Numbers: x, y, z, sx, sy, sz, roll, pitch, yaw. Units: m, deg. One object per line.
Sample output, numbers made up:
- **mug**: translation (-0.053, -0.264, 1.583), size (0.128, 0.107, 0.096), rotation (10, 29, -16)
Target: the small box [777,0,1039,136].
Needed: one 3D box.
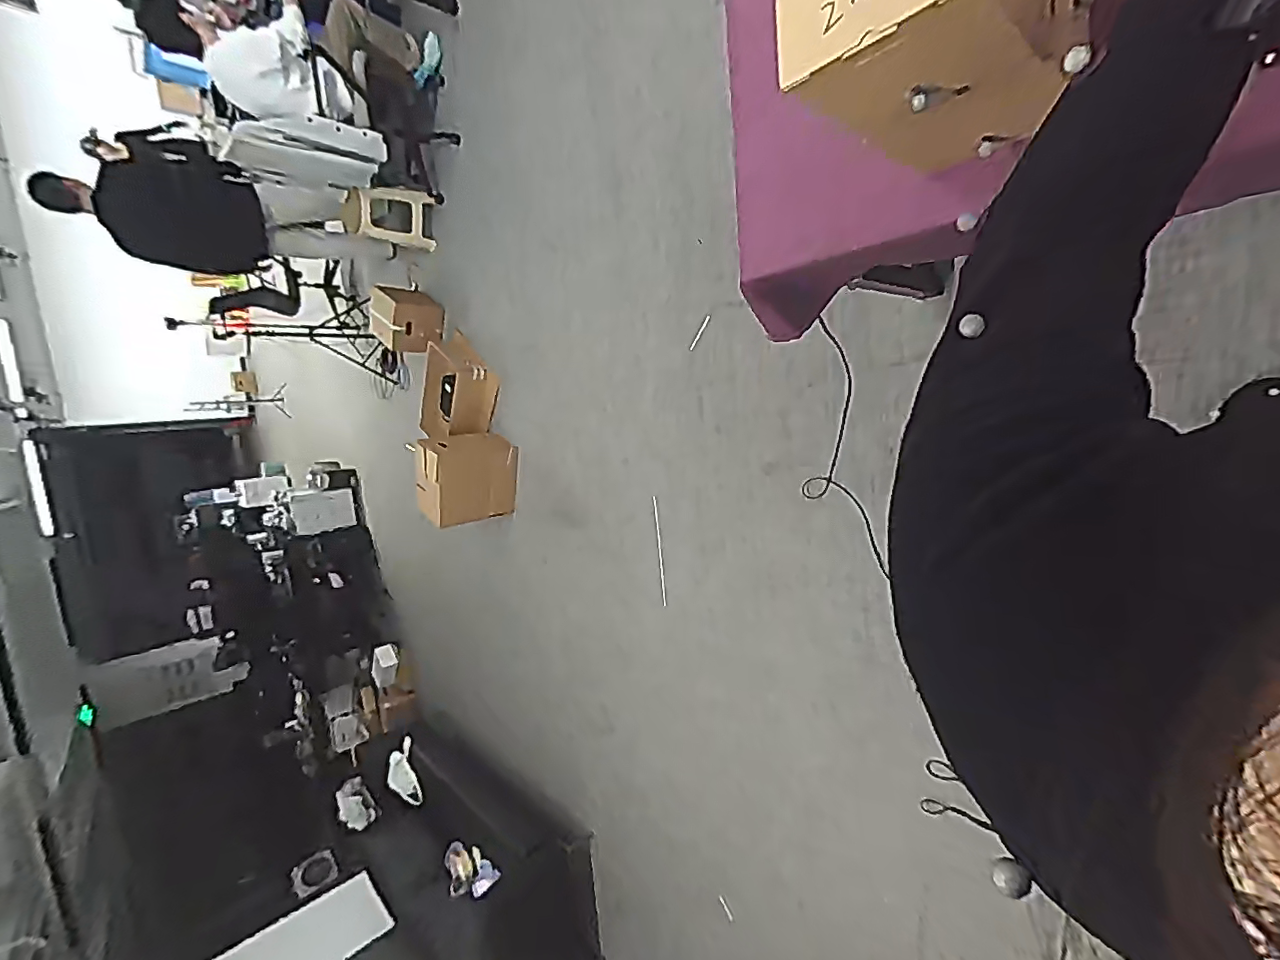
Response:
- **small box**: translation (0.238, -0.449, 0.480), size (0.168, 0.176, 0.179), rotation (4, 102, 48)

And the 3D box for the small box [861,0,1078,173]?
- **small box**: translation (0.360, -0.468, 0.591), size (0.179, 0.176, 0.168), rotation (1, 99, 47)
